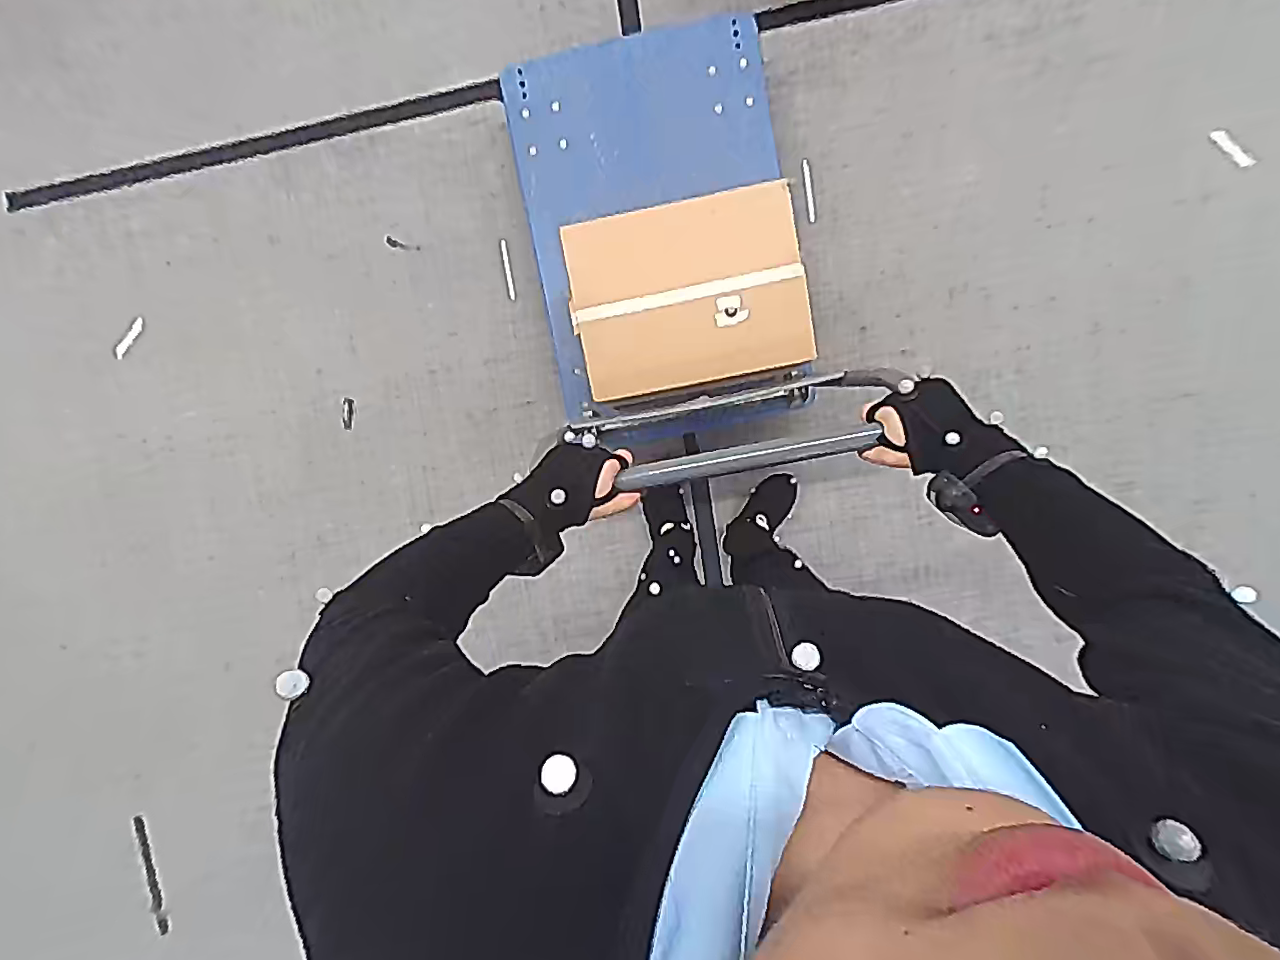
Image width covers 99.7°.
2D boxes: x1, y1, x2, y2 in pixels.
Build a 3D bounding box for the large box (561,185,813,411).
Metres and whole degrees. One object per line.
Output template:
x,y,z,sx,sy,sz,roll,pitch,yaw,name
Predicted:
0.086,-0.333,1.095,0.408,0.320,0.320,-11,97,2,large box
